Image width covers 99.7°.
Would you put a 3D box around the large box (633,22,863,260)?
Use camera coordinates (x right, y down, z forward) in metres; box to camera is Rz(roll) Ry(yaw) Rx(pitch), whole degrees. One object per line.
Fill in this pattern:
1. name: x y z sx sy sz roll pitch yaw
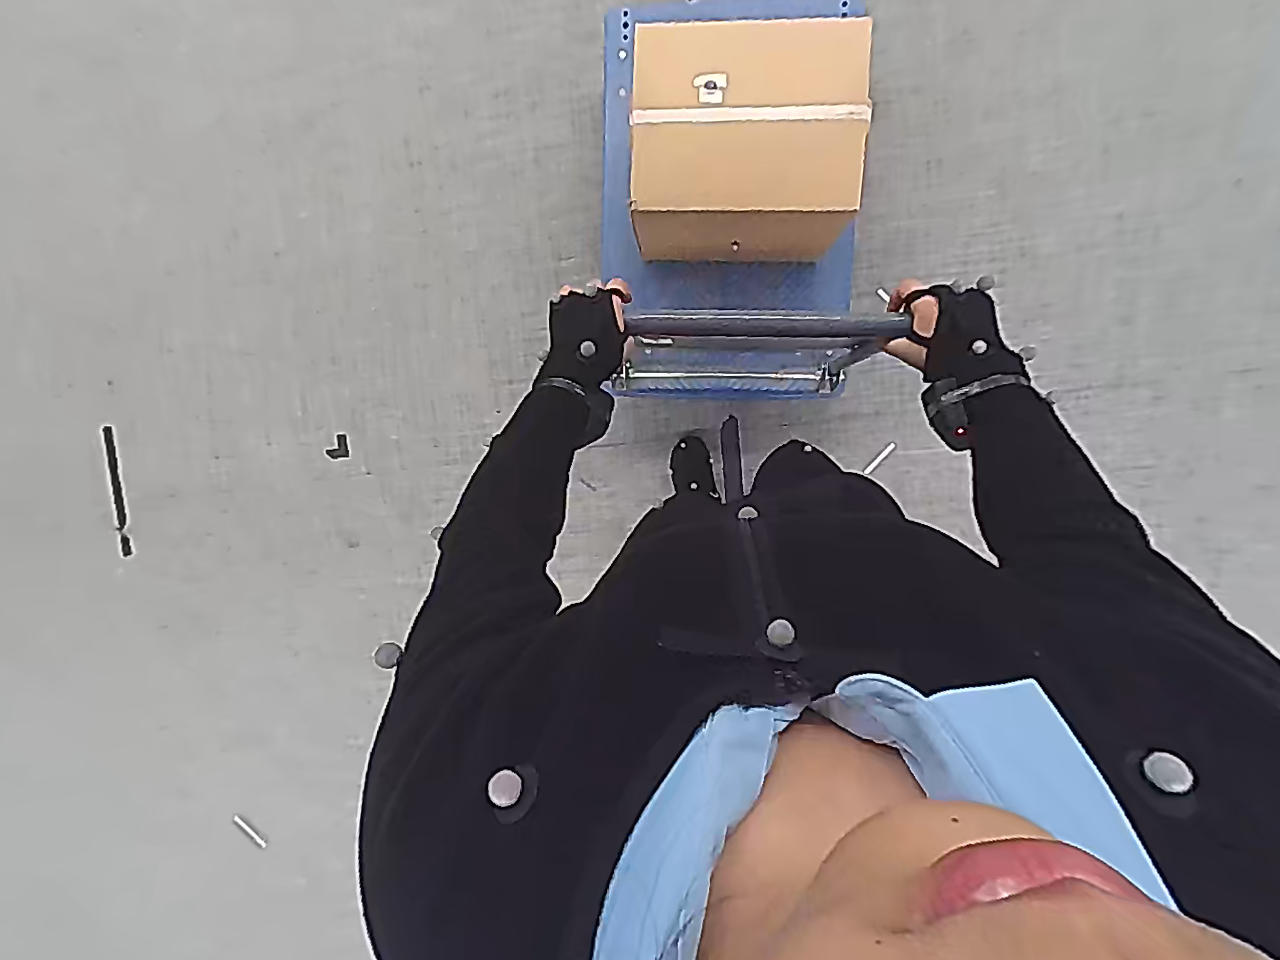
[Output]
1. large box: 0.203 -0.654 1.109 0.408 0.320 0.320 2 95 6
